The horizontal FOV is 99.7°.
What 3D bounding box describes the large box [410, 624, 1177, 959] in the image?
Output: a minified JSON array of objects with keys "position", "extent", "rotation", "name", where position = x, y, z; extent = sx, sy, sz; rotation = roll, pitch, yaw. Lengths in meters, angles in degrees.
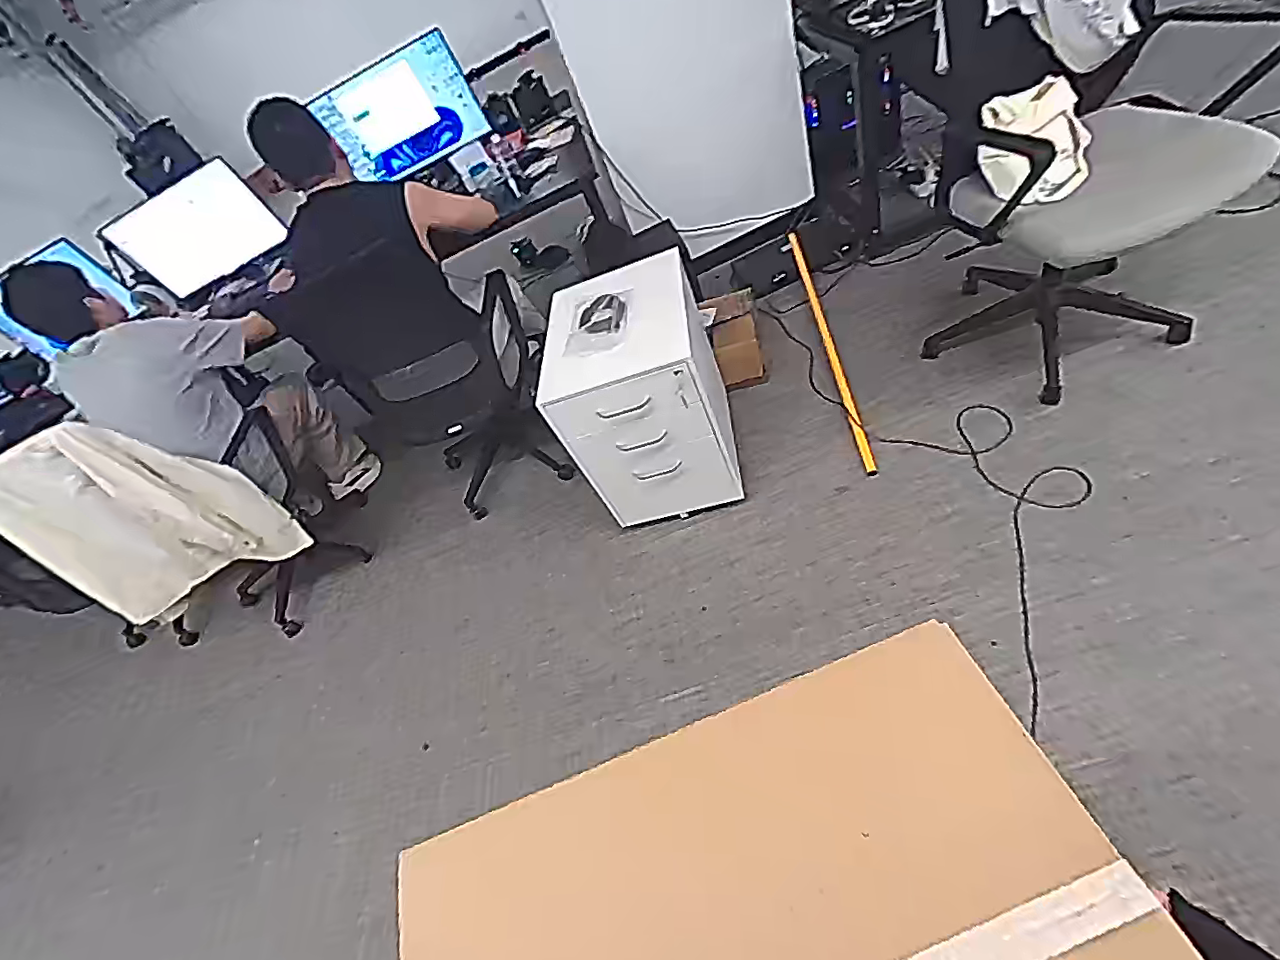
[{"position":[0.107,0.372,0.403],"extent":[0.408,0.320,0.320],"rotation":[-24,51,-1],"name":"large box"}]
